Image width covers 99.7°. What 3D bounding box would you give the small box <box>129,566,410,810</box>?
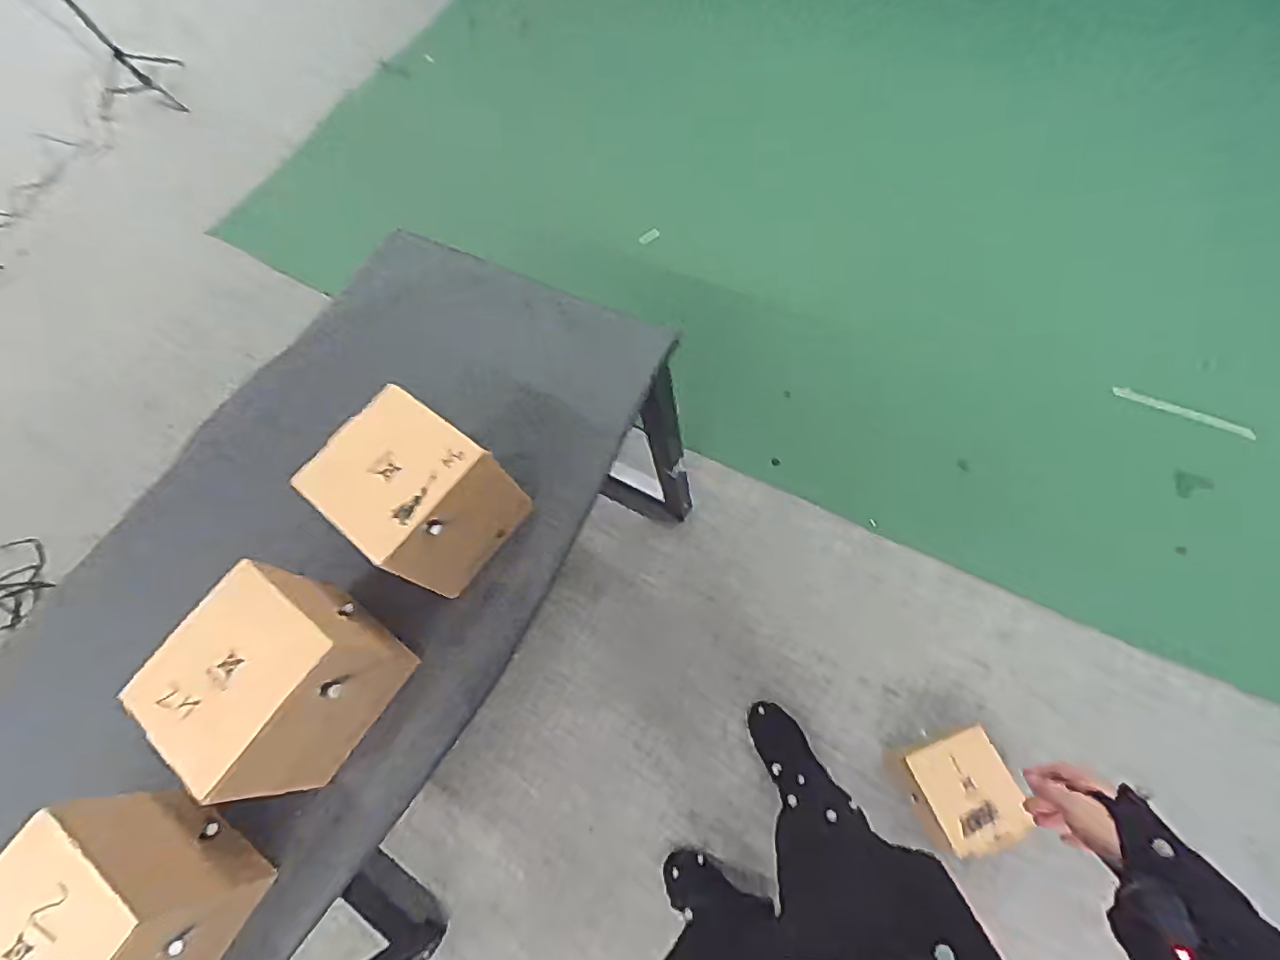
[{"bbox_3d":[-0.397,0.229,0.617,0.168,0.176,0.179,30,76,22],"label":"small box"}]

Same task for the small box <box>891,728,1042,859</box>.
[{"bbox_3d":[0.640,0.616,1.086,0.168,0.176,0.179,-23,64,-1],"label":"small box"}]

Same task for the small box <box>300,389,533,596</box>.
[{"bbox_3d":[-0.269,0.024,0.685,0.179,0.176,0.168,34,75,23],"label":"small box"}]
